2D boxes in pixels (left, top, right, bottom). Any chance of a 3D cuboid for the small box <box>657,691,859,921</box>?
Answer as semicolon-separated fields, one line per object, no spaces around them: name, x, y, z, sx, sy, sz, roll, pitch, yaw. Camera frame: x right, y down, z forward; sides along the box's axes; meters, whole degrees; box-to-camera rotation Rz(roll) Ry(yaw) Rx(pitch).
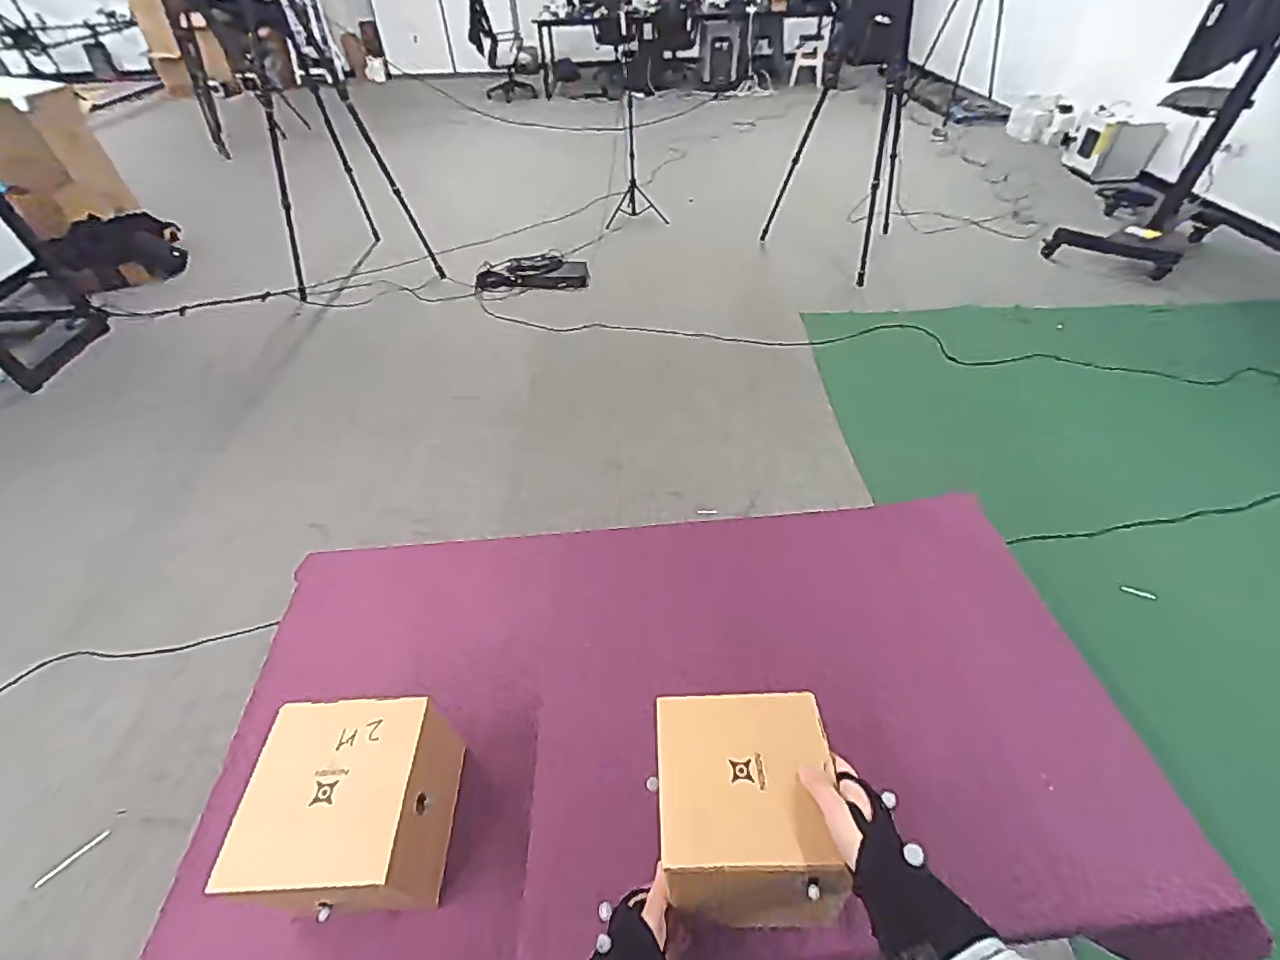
small box;0.111;0.349;0.581;0.179;0.176;0.168;-3;38;2

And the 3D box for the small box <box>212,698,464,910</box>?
small box;-0.311;0.366;0.607;0.168;0.176;0.179;-2;46;0
